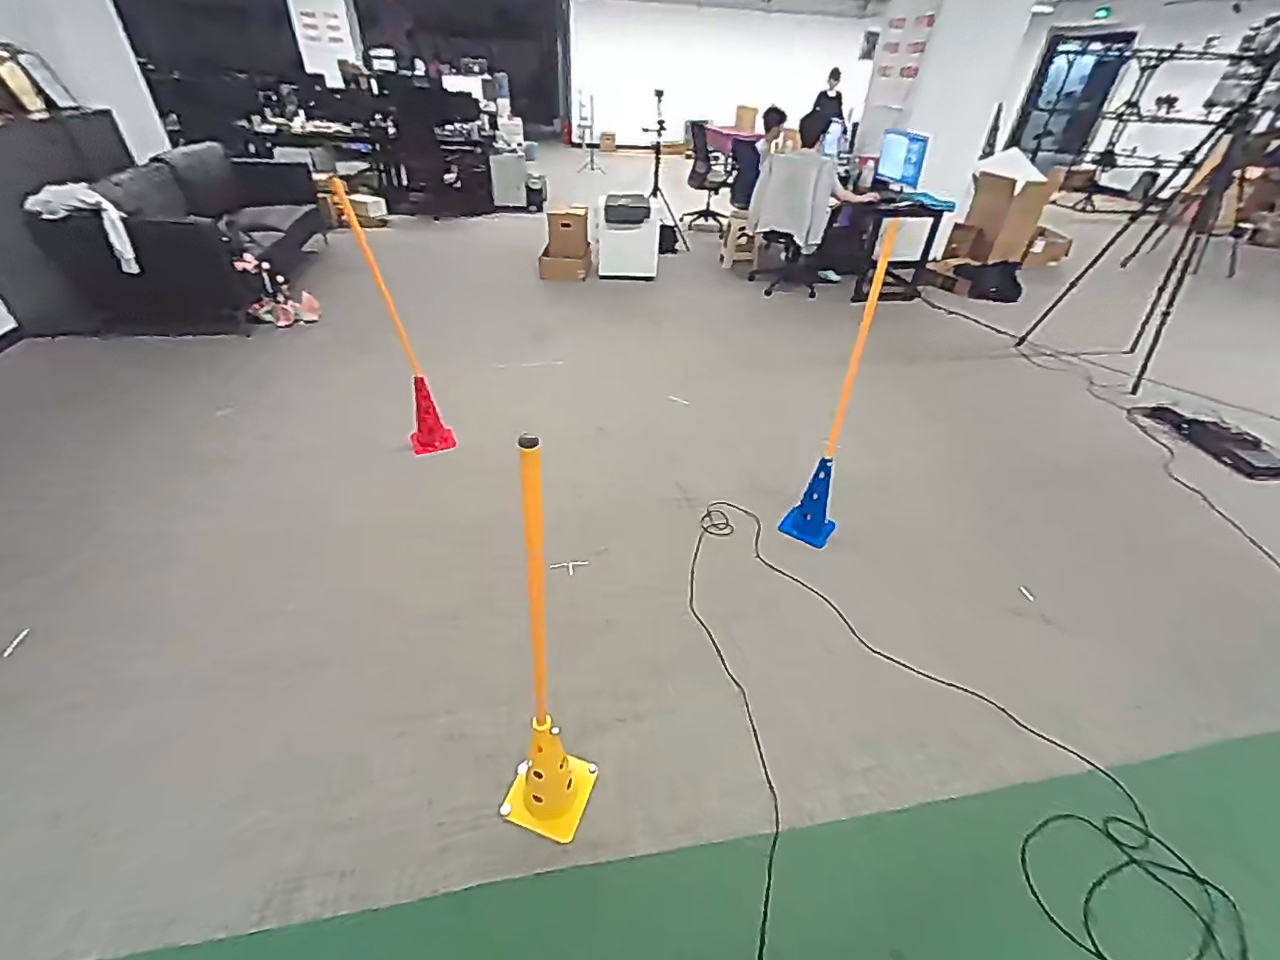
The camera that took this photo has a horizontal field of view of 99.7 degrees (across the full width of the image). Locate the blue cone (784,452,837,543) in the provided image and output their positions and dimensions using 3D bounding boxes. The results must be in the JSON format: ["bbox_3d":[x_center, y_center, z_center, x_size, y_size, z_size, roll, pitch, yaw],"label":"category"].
[{"bbox_3d":[0.729,0.052,2.204,0.192,0.380,0.193,23,39,26],"label":"blue cone"}]
